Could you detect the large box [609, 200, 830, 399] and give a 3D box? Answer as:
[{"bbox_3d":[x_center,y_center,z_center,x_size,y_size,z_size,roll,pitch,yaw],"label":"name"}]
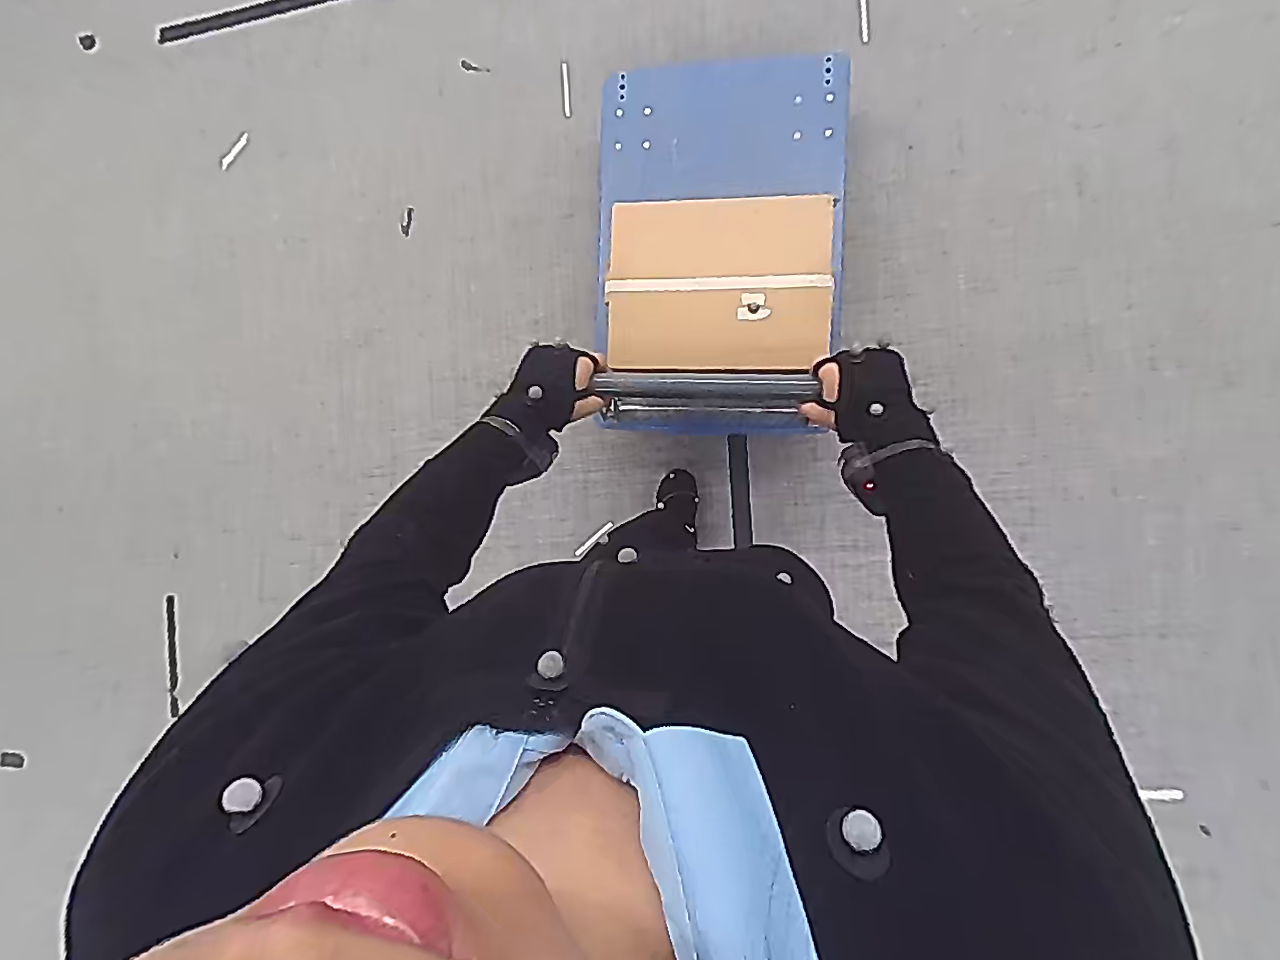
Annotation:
[{"bbox_3d":[0.157,-0.348,1.134,0.408,0.320,0.320,1,91,8],"label":"large box"}]
